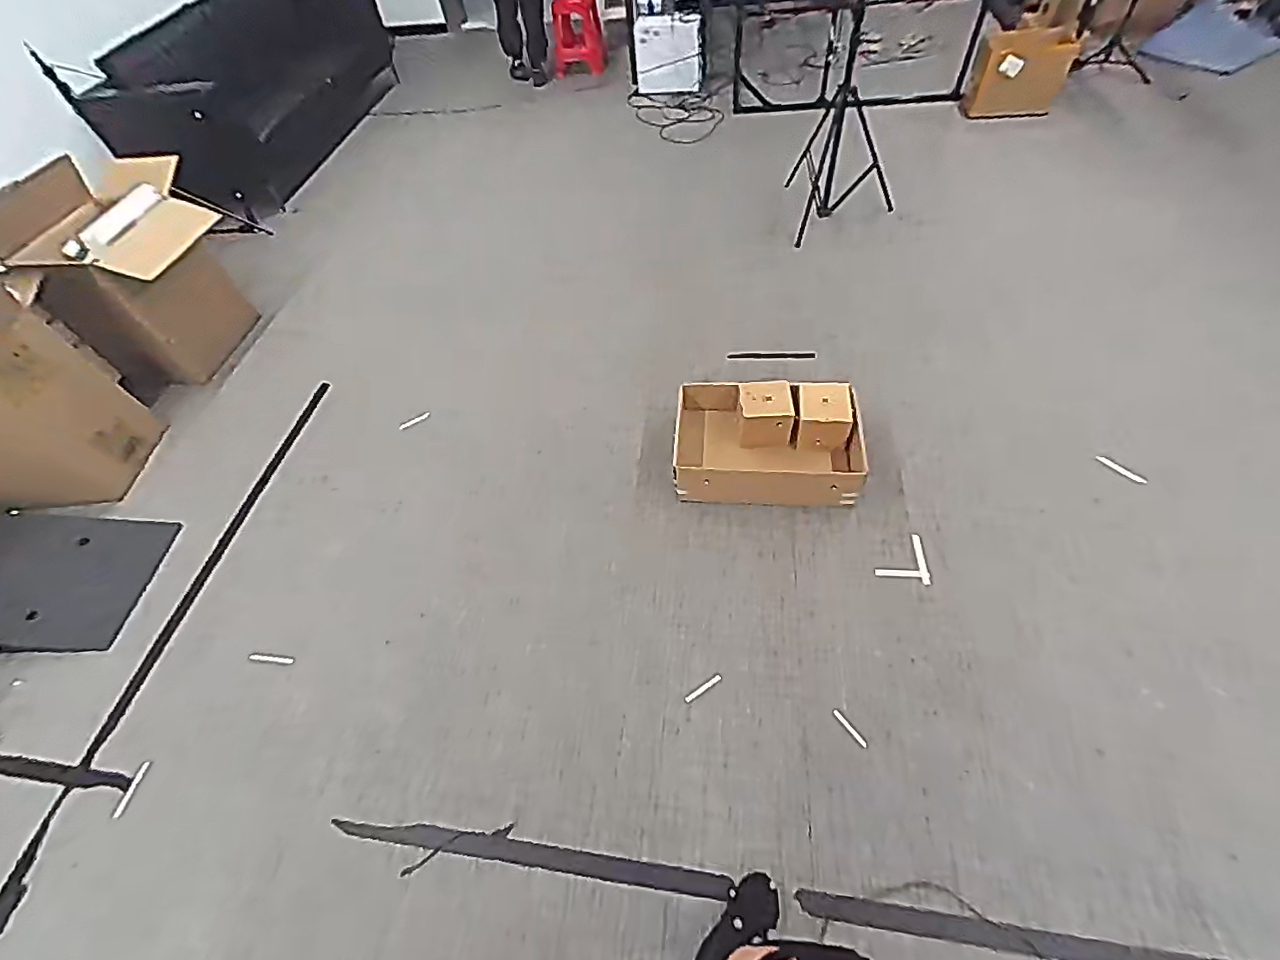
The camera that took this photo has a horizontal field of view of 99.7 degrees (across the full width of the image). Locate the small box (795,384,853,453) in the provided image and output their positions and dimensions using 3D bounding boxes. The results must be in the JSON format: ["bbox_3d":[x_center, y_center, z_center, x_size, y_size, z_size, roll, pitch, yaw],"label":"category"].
[{"bbox_3d":[0.638,-0.215,1.895,0.168,0.176,0.179,2,57,10],"label":"small box"}]
